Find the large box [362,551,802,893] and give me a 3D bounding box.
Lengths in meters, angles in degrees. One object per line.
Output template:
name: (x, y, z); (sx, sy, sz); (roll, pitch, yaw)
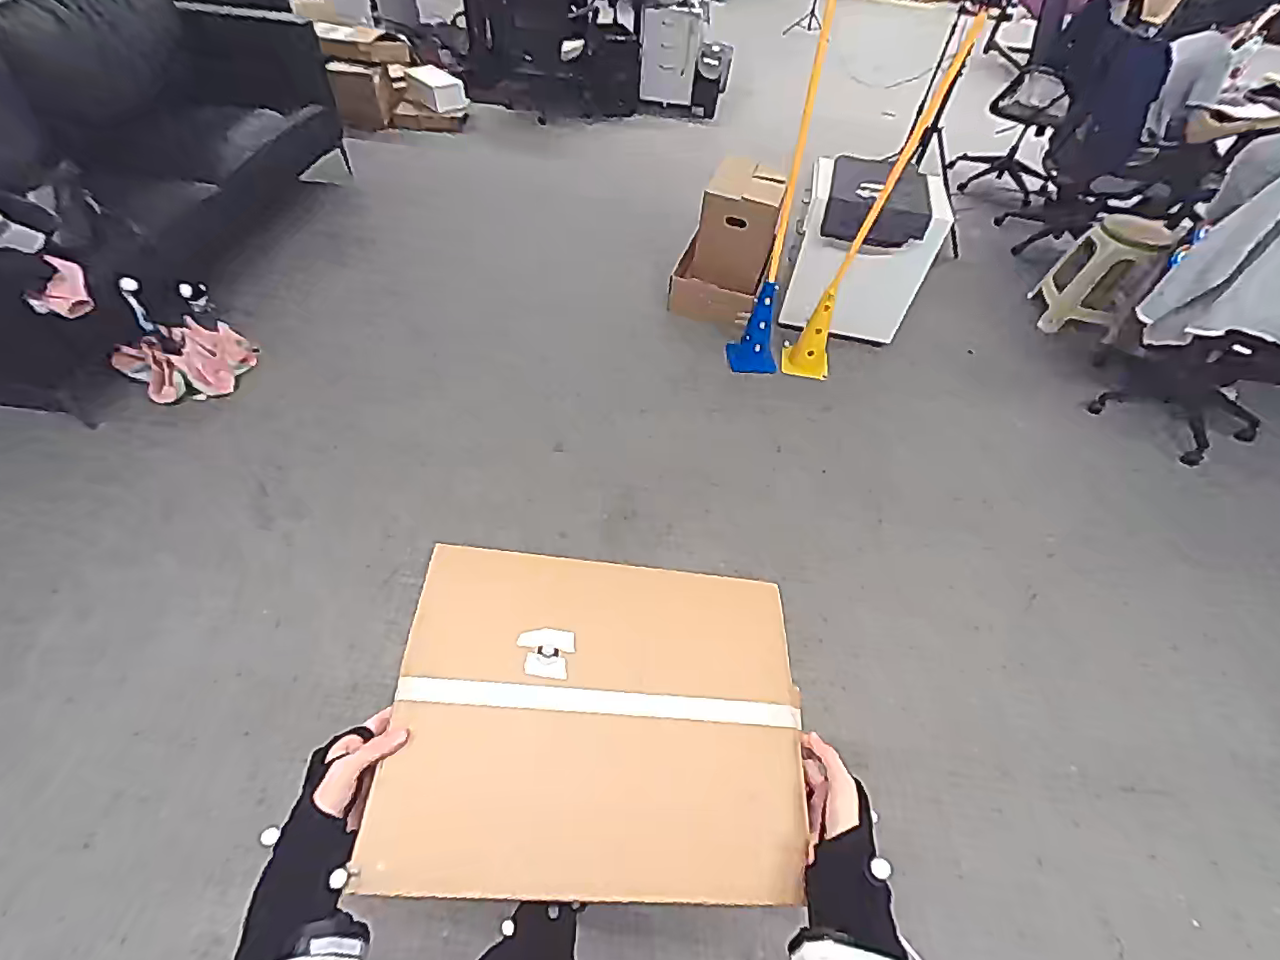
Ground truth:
large box: (-0.062, 0.311, 0.685); (0.408, 0.320, 0.320); (8, 55, -8)
